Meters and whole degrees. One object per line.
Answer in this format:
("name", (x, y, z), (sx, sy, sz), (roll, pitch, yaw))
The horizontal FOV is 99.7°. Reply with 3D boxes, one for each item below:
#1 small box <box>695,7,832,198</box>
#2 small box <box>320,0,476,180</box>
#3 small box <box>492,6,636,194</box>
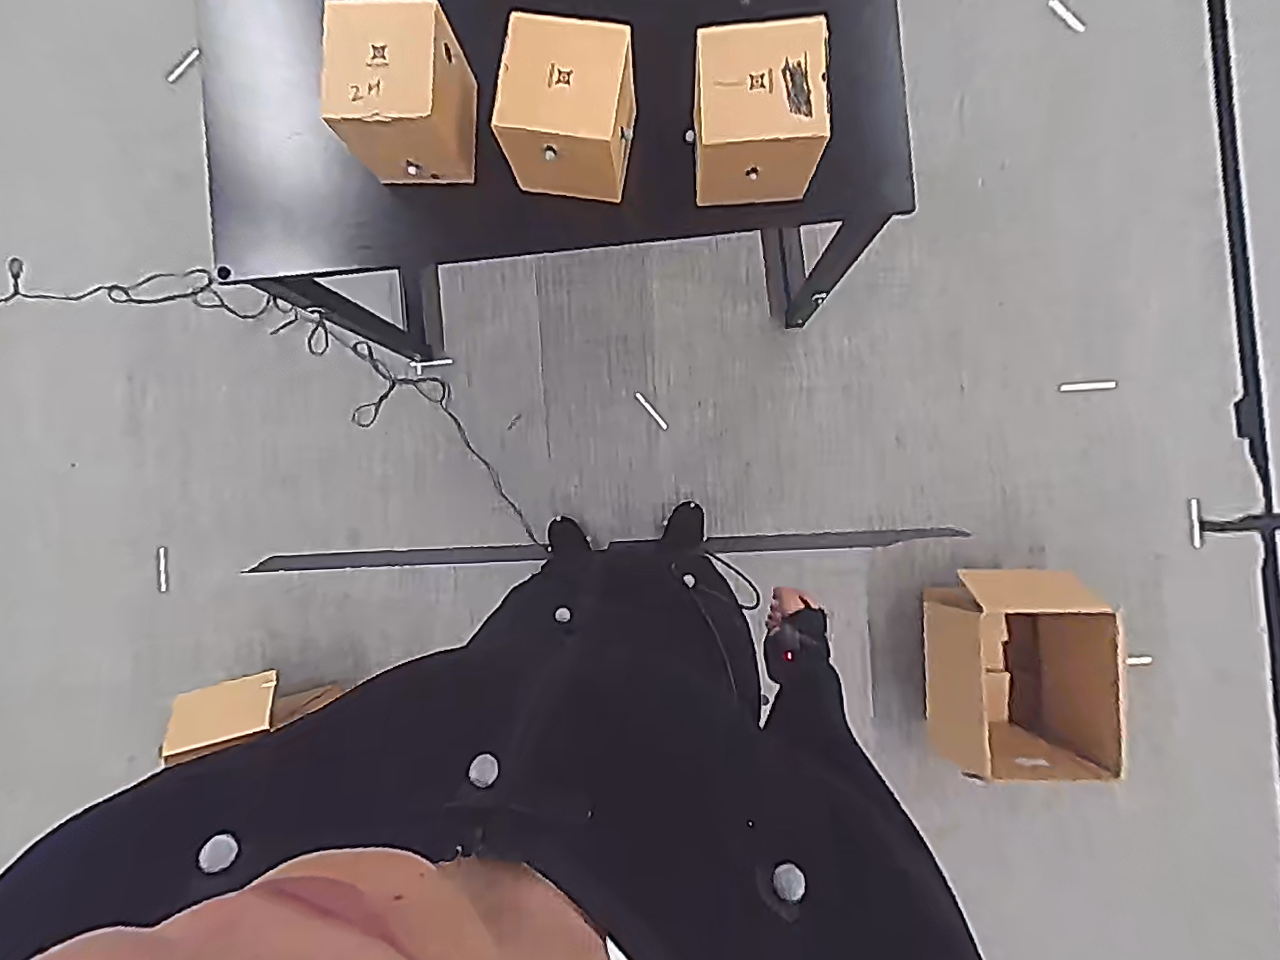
("small box", (0.174, -0.549, 0.809), (0.179, 0.176, 0.168), (-2, 89, 5))
("small box", (-0.365, -0.602, 0.844), (0.168, 0.176, 0.179), (1, 90, 4))
("small box", (-0.105, -0.567, 0.829), (0.179, 0.176, 0.168), (9, 90, 4))
